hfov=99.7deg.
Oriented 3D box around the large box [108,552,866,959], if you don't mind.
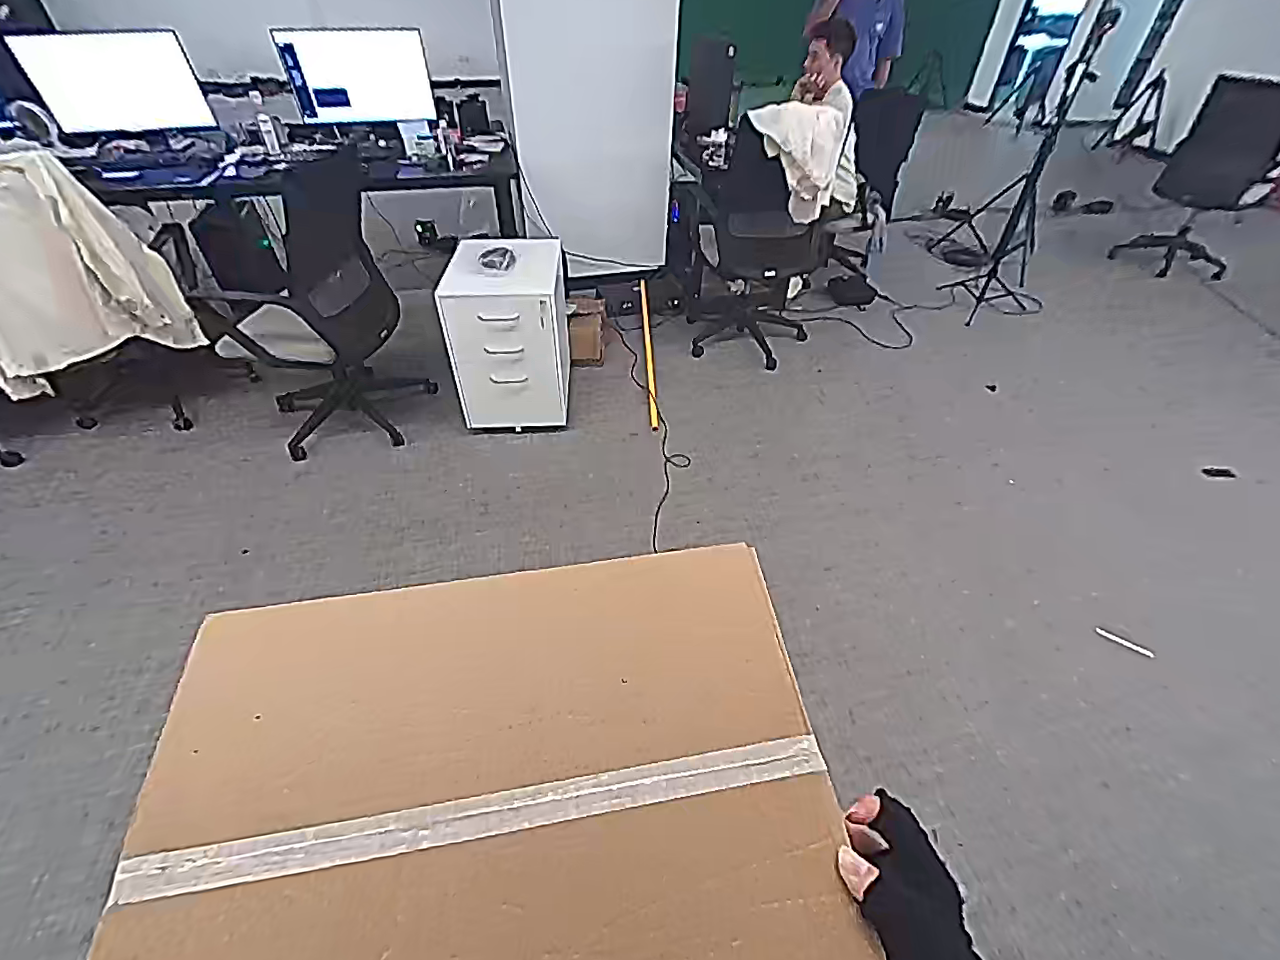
[{"bbox_3d":[-0.091,0.291,0.448,0.408,0.320,0.320,-7,53,-6],"label":"large box"}]
